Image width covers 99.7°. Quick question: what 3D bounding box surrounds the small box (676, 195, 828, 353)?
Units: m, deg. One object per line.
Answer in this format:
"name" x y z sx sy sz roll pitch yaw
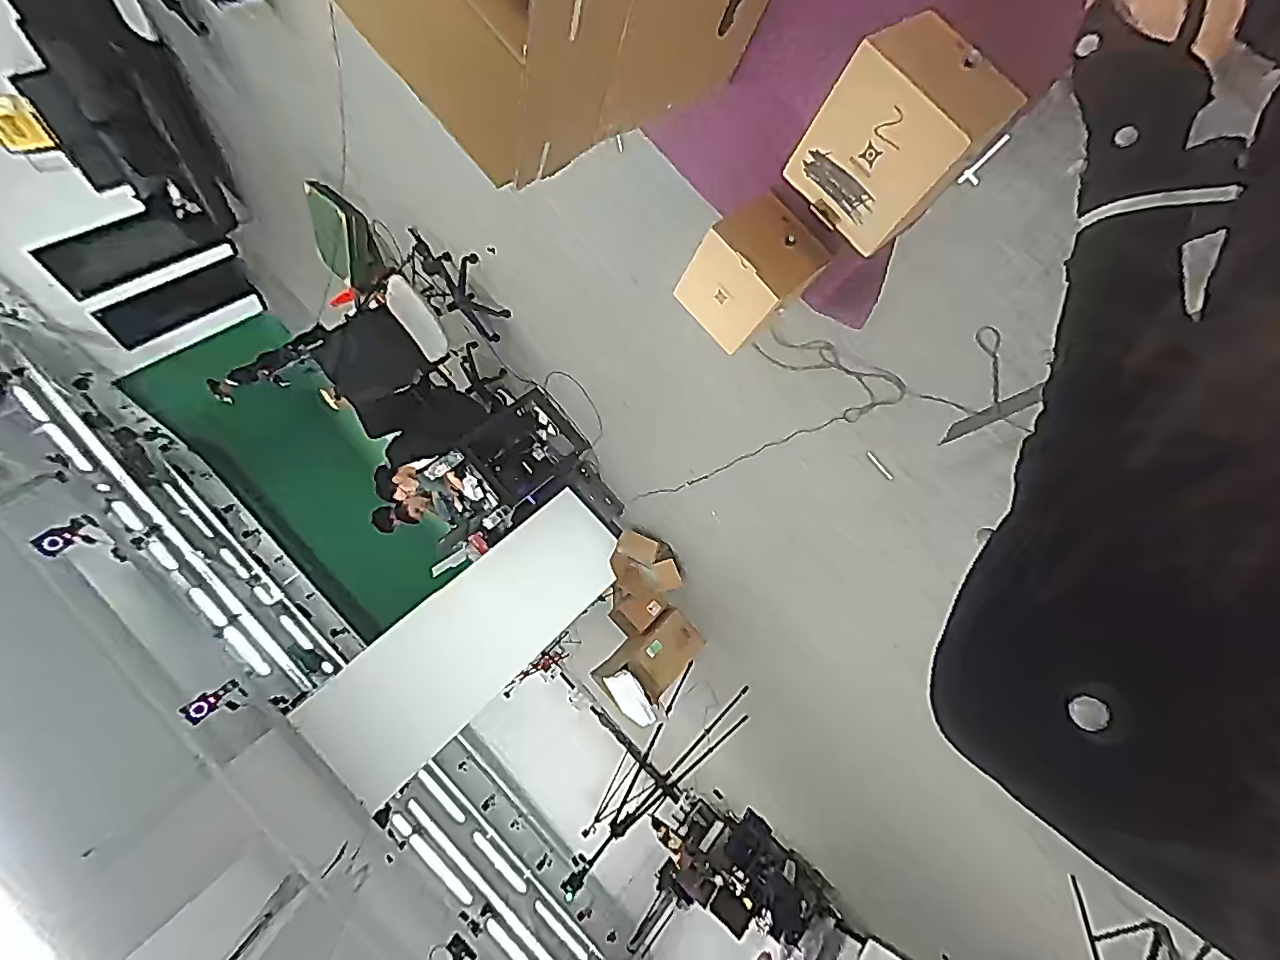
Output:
"small box" 0.201 -0.369 0.976 0.168 0.176 0.179 48 153 2
